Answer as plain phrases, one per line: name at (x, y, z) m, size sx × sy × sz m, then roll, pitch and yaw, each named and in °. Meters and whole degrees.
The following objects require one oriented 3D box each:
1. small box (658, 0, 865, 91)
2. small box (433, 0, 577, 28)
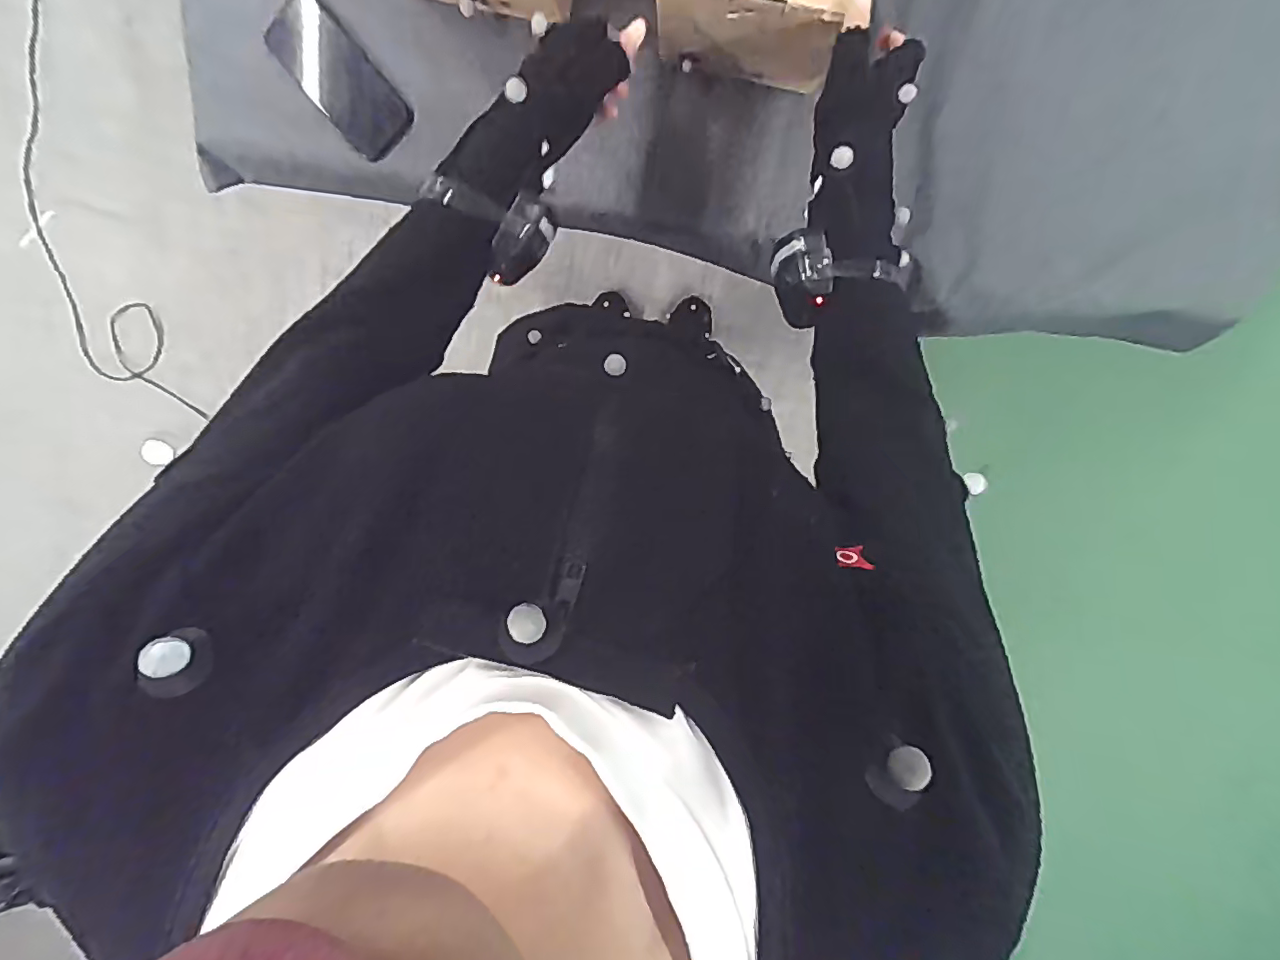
small box at (0.113, -0.472, 0.463) m, size 0.168 × 0.176 × 0.179 m, roll 12°, pitch 108°, yaw -1°
small box at (-0.138, -0.535, 0.457) m, size 0.168 × 0.176 × 0.179 m, roll 11°, pitch 111°, yaw 1°
